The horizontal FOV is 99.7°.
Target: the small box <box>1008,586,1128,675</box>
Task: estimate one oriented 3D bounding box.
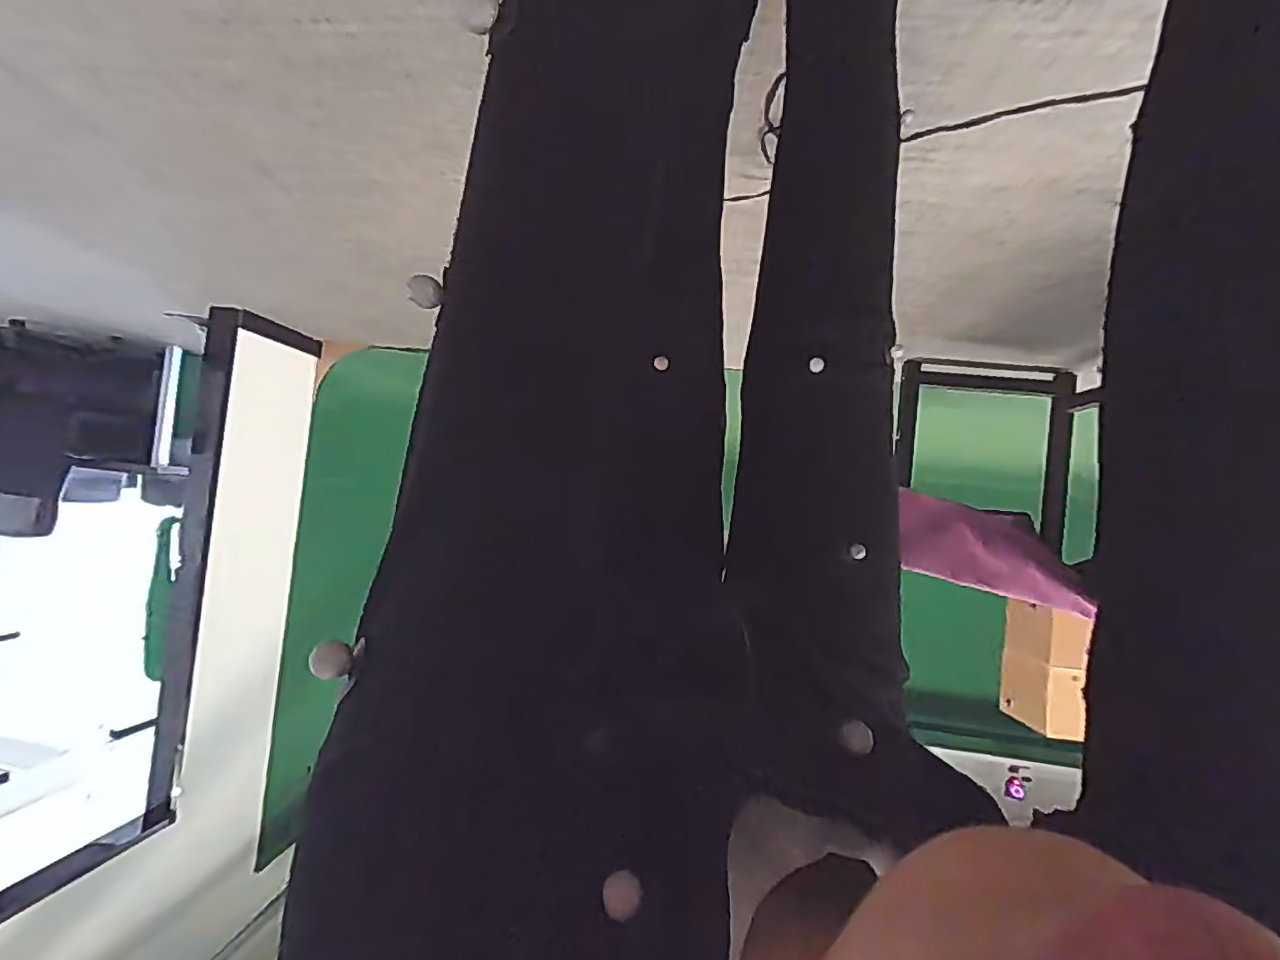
[{"bbox_3d":[1.056,0.365,1.337,0.179,0.176,0.168,6,177,1],"label":"small box"}]

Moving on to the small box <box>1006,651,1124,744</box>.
[{"bbox_3d":[1.043,0.526,1.336,0.168,0.176,0.179,5,177,2],"label":"small box"}]
